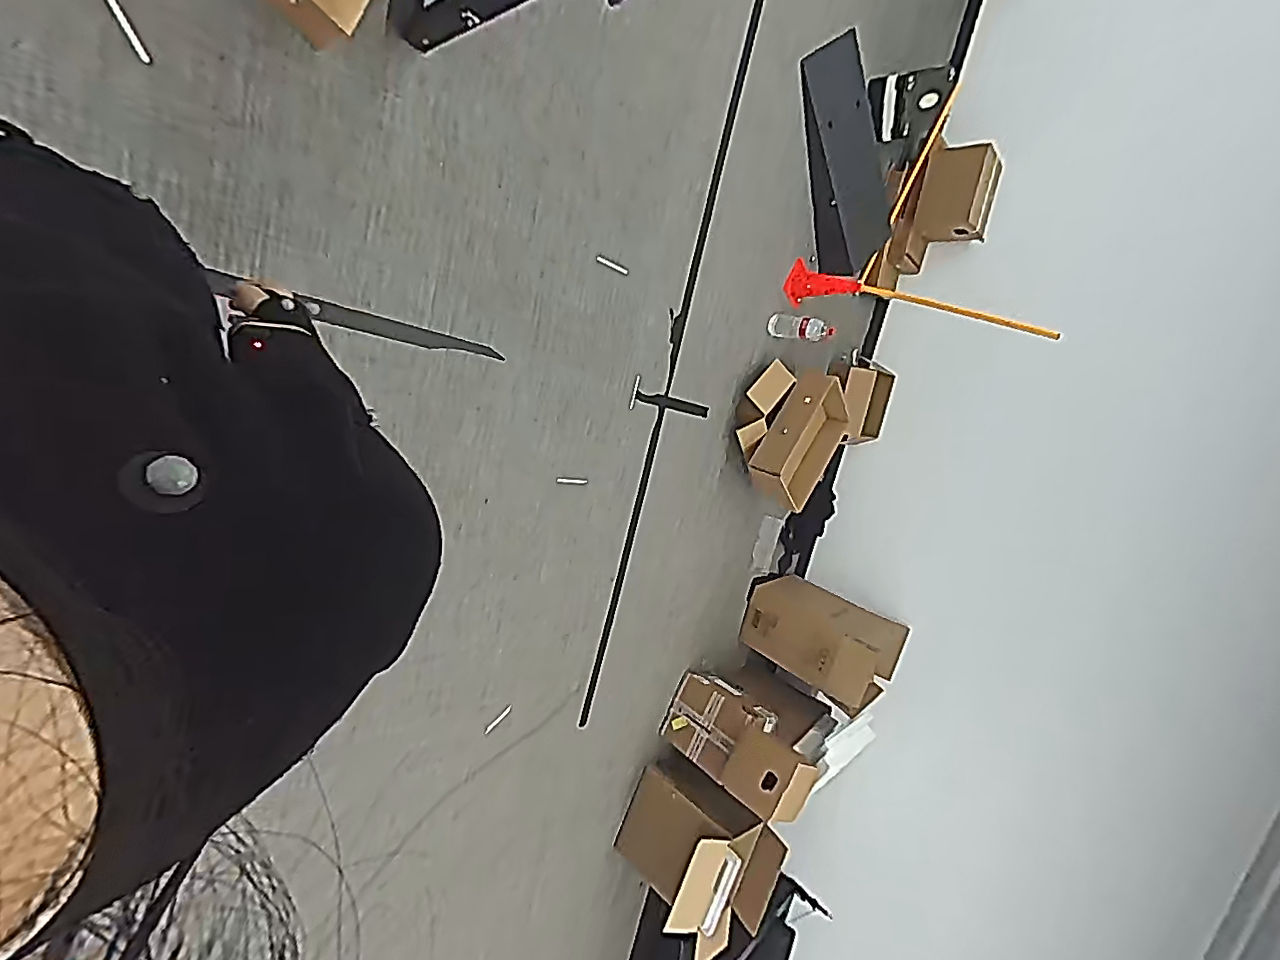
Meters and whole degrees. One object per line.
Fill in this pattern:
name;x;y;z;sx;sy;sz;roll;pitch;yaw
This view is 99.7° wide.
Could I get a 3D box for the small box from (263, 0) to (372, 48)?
small box;-0.648;-1.000;1.066;0.179;0.176;0.168;29;85;-49
